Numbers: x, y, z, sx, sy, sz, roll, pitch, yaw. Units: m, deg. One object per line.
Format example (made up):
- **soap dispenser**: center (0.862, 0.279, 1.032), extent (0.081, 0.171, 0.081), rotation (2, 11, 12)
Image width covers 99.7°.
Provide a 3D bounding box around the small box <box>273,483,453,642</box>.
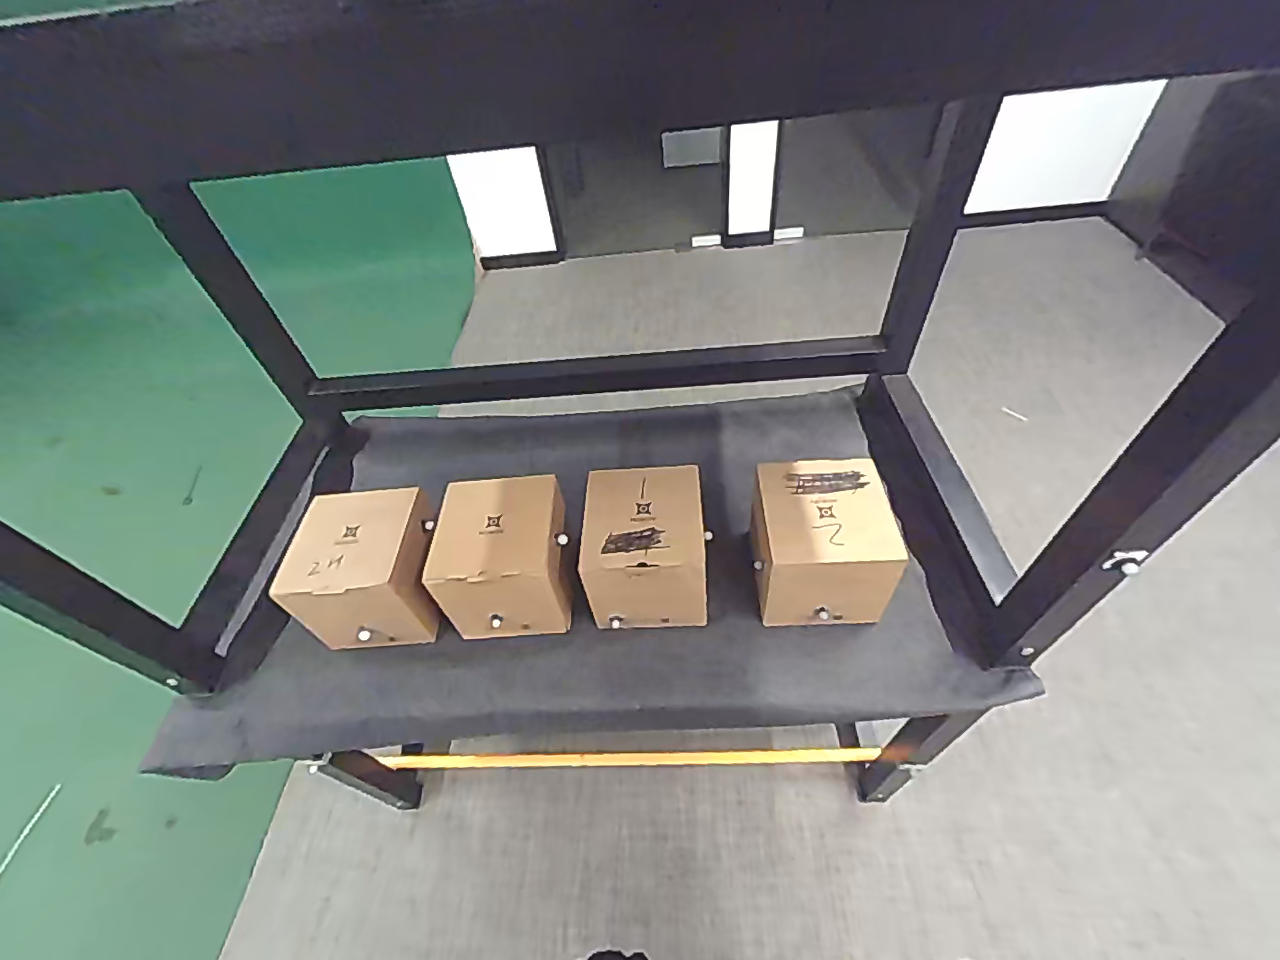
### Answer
- **small box**: center (-0.404, 0.127, 0.828), extent (0.168, 0.176, 0.179), rotation (-5, 48, 3)
